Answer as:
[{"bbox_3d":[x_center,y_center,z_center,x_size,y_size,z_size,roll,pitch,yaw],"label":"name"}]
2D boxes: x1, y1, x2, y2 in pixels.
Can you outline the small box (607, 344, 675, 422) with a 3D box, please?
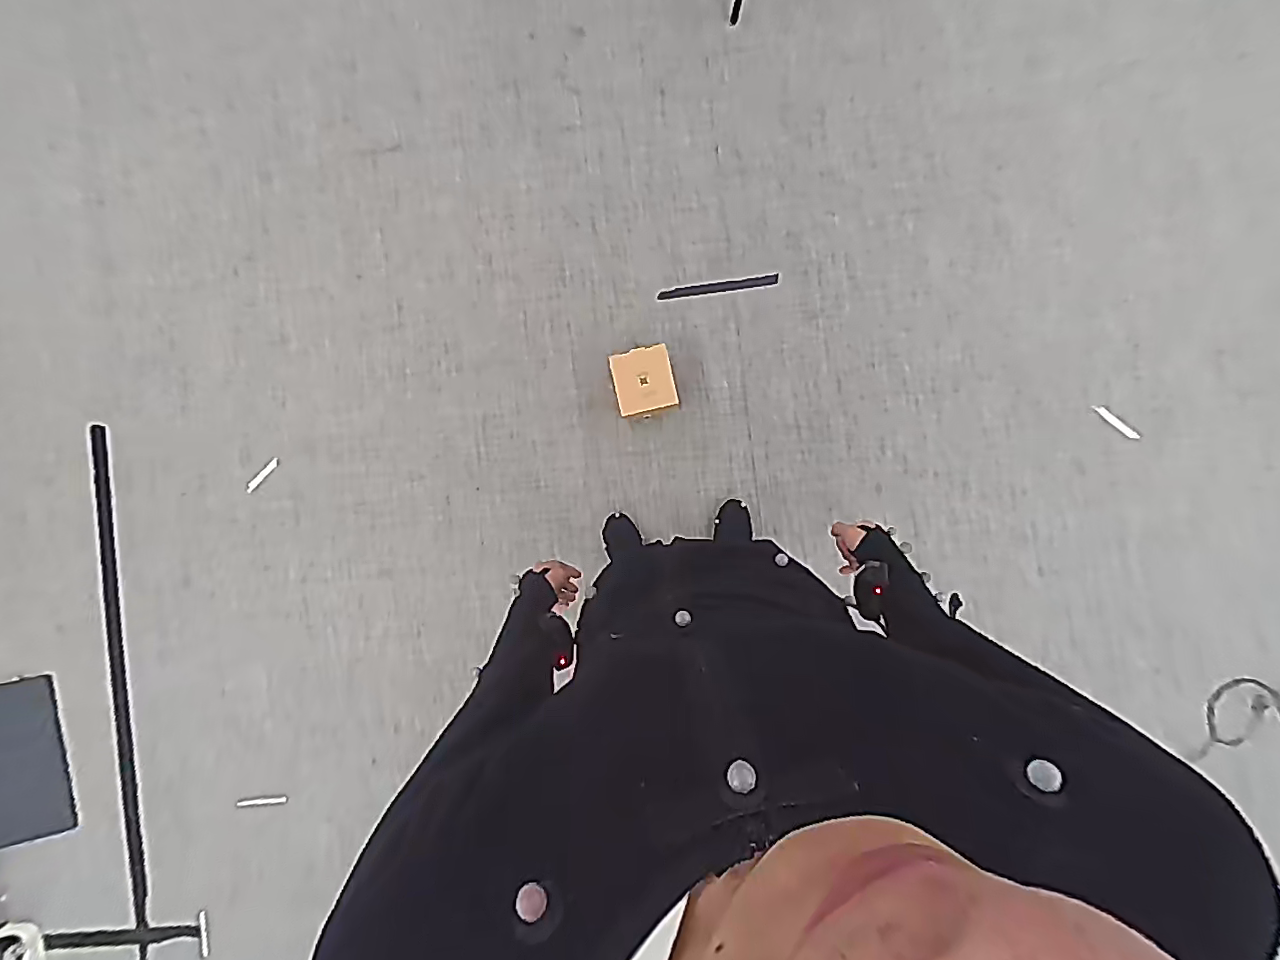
[{"bbox_3d":[0.004,-0.278,1.582,0.168,0.176,0.179,-12,89,2],"label":"small box"}]
